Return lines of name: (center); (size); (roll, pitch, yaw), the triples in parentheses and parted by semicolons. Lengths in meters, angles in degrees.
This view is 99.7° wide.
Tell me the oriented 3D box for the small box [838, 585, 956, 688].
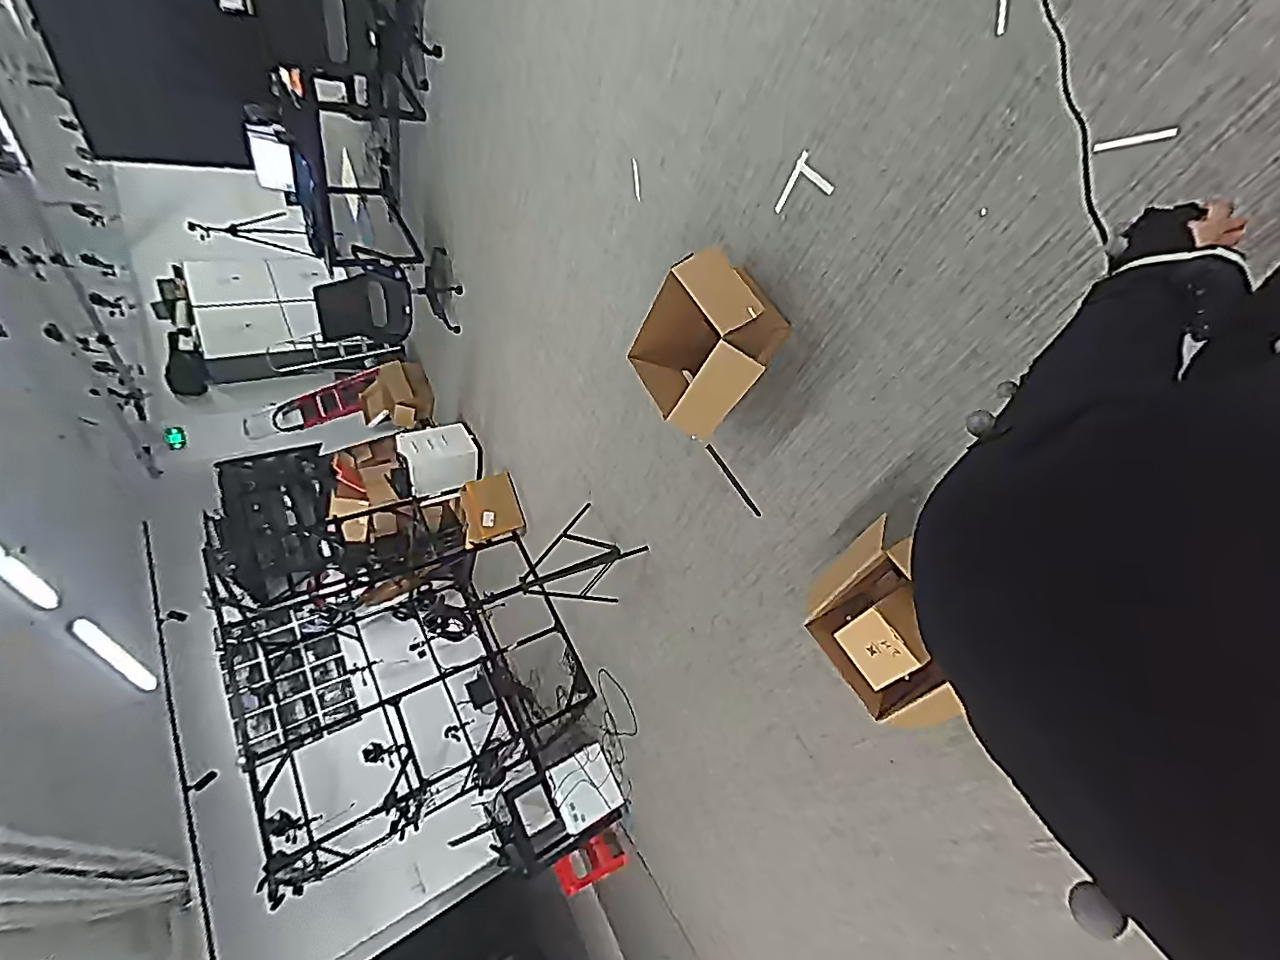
small box: (0.654, 0.395, 1.375); (0.168, 0.176, 0.179); (56, 144, 25)
